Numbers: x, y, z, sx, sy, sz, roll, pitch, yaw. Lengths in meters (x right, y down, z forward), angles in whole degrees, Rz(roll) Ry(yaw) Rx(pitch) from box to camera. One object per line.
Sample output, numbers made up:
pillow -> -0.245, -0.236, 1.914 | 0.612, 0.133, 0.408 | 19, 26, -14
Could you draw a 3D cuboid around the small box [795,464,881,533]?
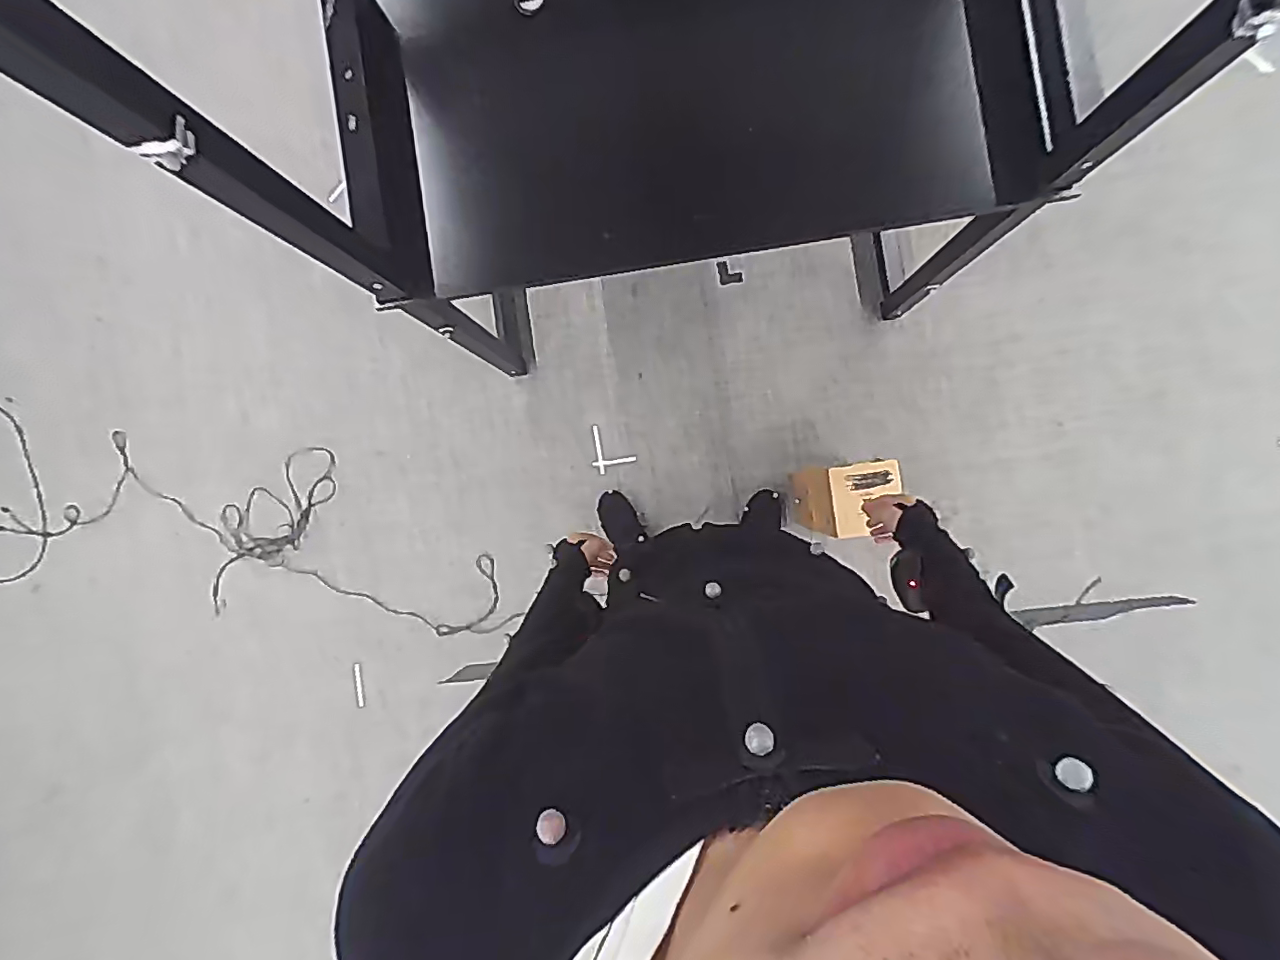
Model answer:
small box -> 0.554, 0.049, 1.528 | 0.179, 0.176, 0.168 | -10, 89, 5
